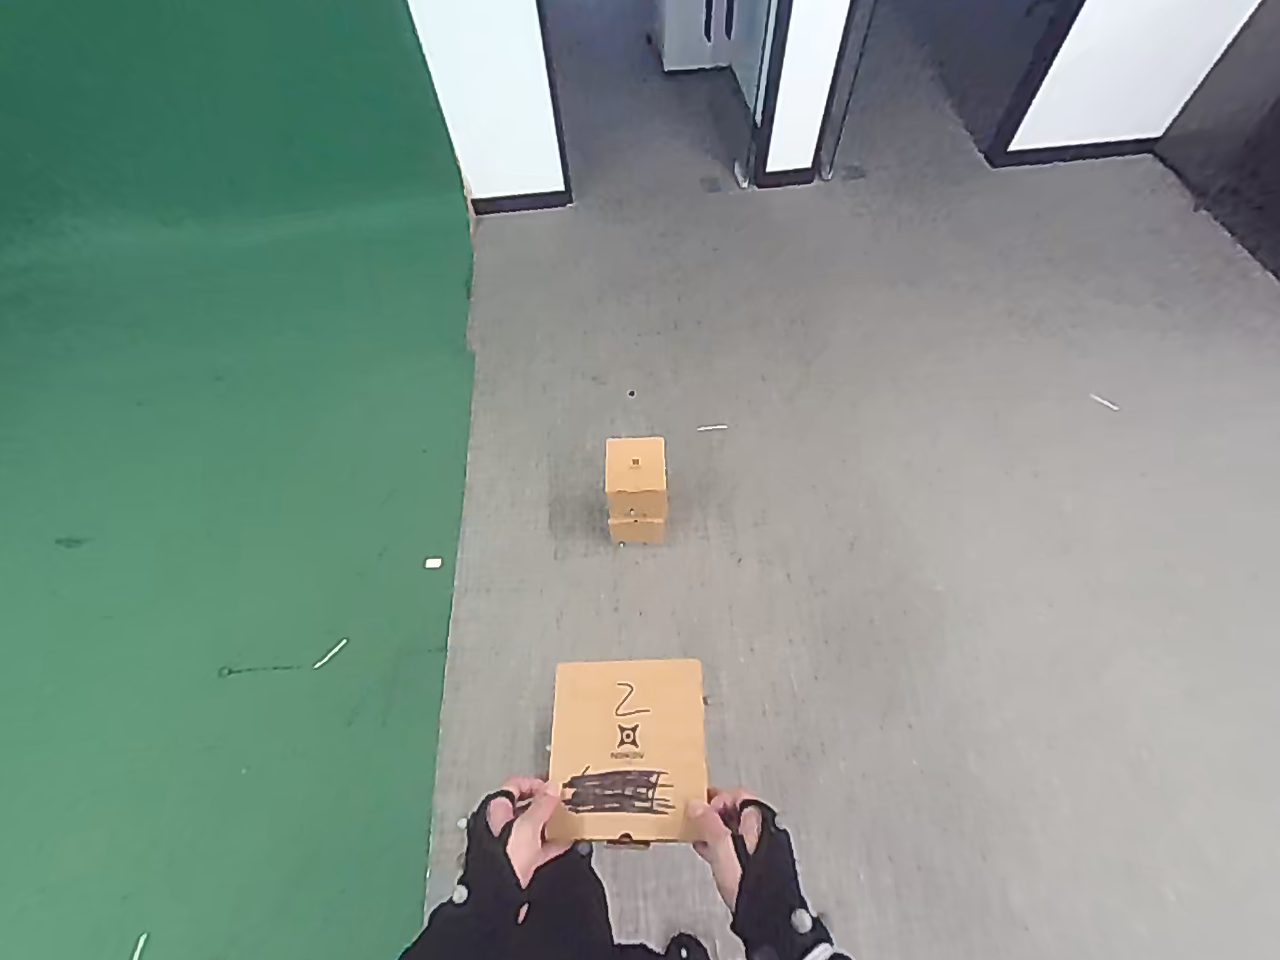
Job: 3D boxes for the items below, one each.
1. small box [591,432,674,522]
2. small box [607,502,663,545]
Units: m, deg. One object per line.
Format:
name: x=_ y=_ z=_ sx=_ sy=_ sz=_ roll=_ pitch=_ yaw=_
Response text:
small box: x=-0.017 y=-0.002 z=1.561 sx=0.179 sy=0.176 sz=0.168 roll=26 pitch=65 yaw=17
small box: x=-0.012 y=0.094 z=1.683 sx=0.168 sy=0.176 sz=0.179 roll=-1 pitch=58 yaw=1
